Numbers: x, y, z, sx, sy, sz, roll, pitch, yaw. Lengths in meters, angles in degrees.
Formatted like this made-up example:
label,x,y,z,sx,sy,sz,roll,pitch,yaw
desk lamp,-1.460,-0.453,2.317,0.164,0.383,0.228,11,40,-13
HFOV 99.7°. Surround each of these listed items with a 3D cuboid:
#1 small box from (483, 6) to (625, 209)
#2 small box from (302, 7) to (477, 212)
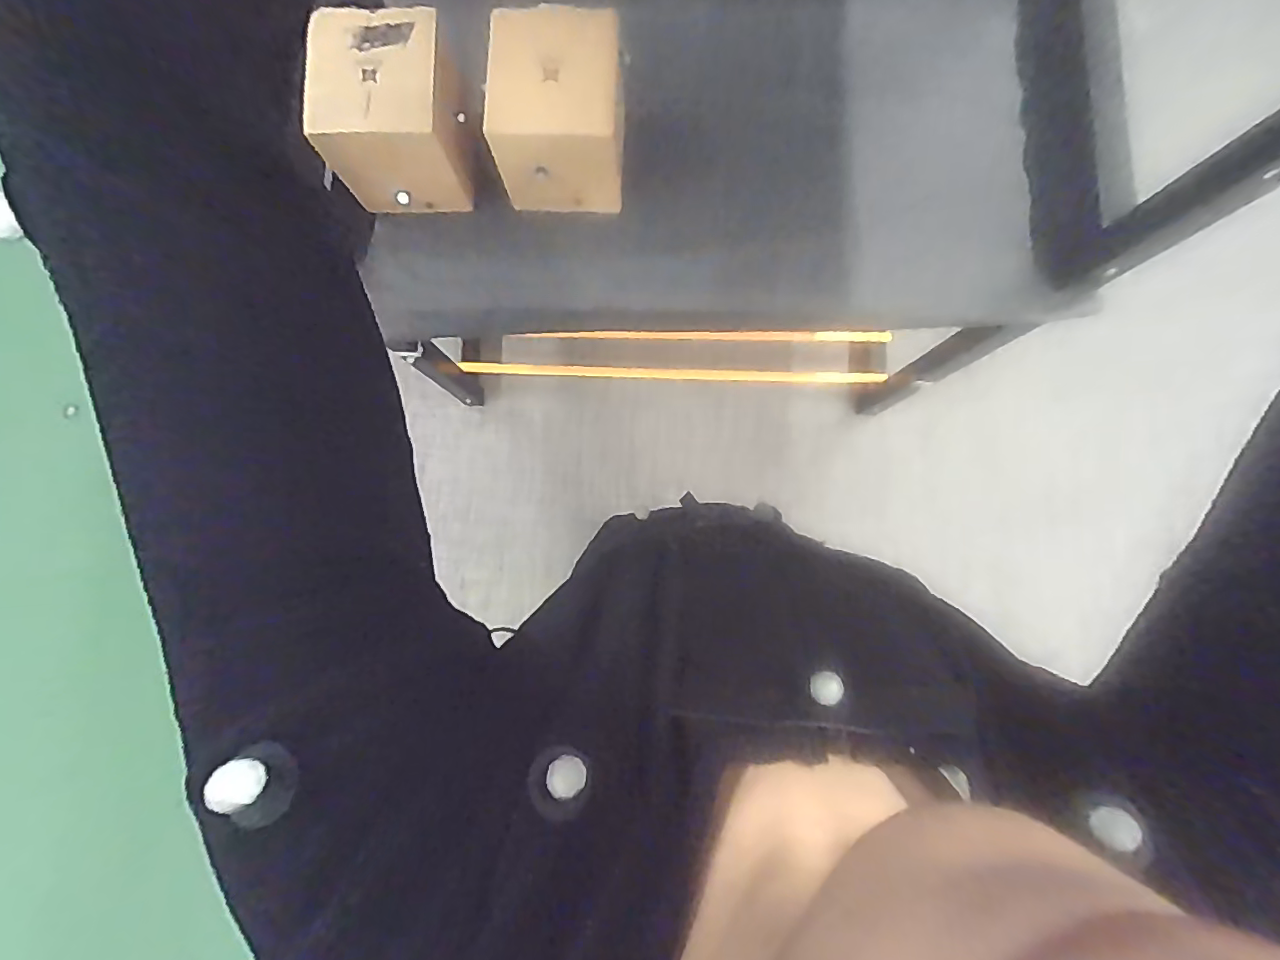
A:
label,x,y,z,sx,sy,sz,roll,pitch,yaw
small box,-0.109,-0.506,0.757,0.168,0.176,0.179,2,82,1
small box,-0.336,-0.507,0.757,0.168,0.176,0.179,-1,83,1
